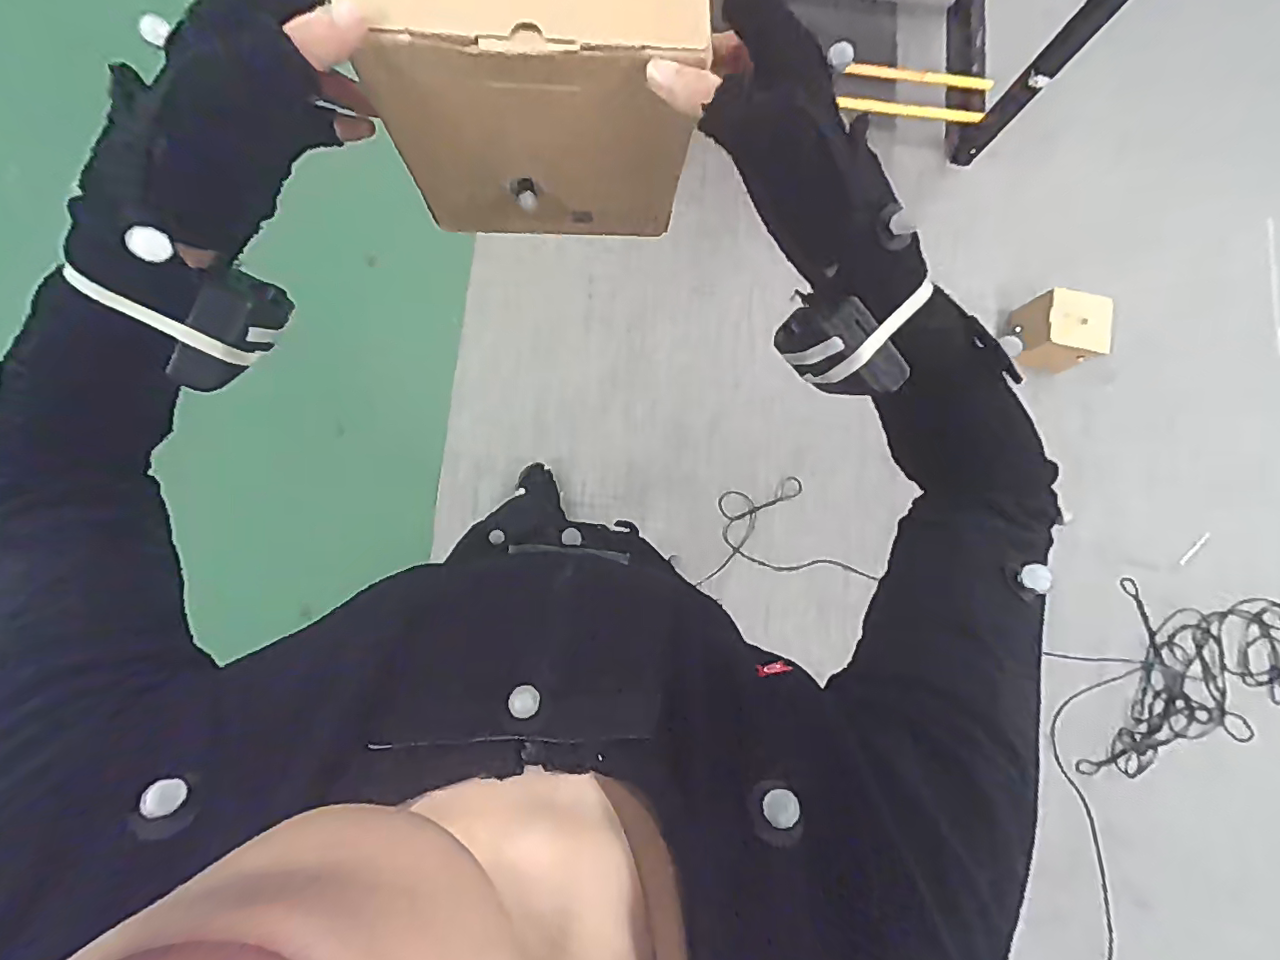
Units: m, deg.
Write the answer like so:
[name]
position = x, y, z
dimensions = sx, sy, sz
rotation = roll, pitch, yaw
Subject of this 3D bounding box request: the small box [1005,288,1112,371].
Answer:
[small box]
position = 1.209, -0.429, 1.568
dimensions = 0.179, 0.176, 0.168
rotation = 11, 82, -2
